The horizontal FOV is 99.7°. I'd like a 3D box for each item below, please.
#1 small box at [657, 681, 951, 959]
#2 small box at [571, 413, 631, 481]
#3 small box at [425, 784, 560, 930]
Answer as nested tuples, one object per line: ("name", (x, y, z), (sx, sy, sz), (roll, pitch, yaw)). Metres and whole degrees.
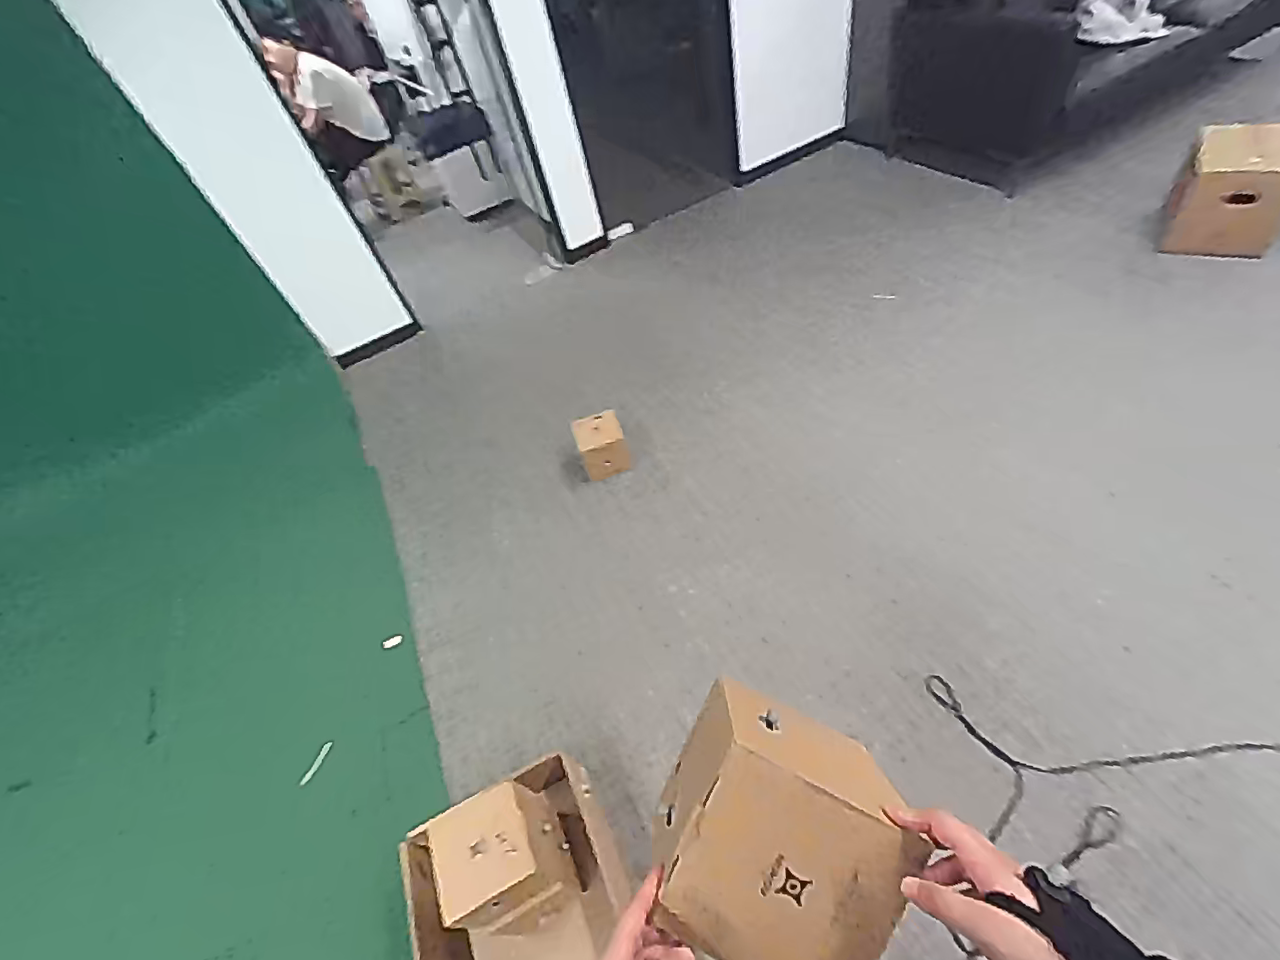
("small box", (0.133, 0.312, 0.501), (0.179, 0.176, 0.168), (27, 91, 5))
("small box", (-0.143, -0.115, 2.020), (0.168, 0.176, 0.179), (-19, 49, -1))
("small box", (-0.278, 0.722, 1.032), (0.179, 0.176, 0.168), (-26, 49, -9))
